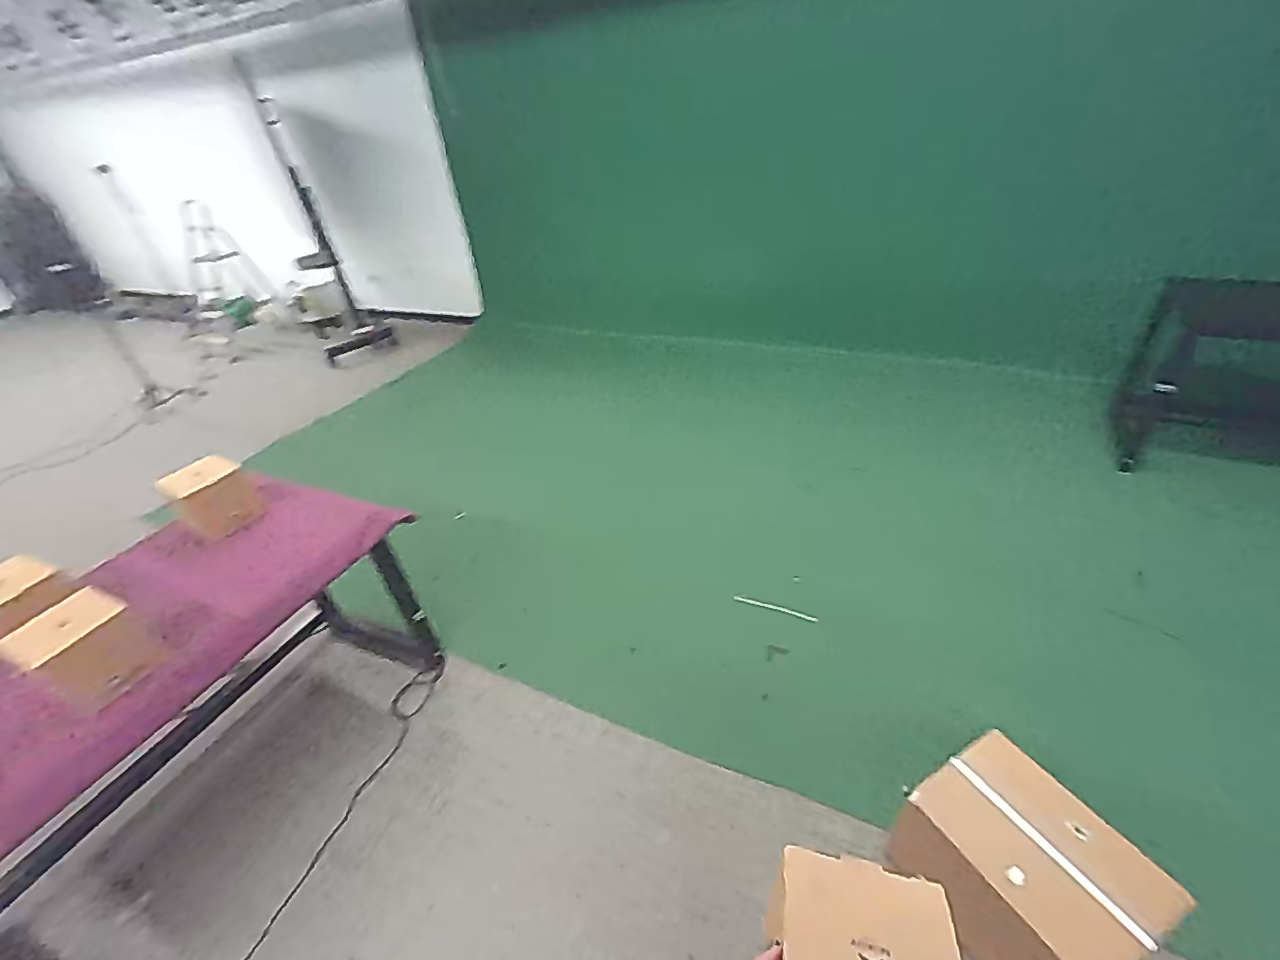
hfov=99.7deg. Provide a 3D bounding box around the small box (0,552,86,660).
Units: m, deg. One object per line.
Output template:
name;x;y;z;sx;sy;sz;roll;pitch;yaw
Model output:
small box;-1.443;0.298;1.276;0.179;0.176;0.168;9;38;19

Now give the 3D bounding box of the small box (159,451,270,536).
small box;-1.247;0.042;1.594;0.179;0.176;0.168;16;43;27

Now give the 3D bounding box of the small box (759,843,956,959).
small box;0.212;0.521;0.547;0.168;0.176;0.179;8;29;11

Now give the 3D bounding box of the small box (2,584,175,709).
small box;-1.162;0.354;1.151;0.179;0.176;0.168;11;40;24
